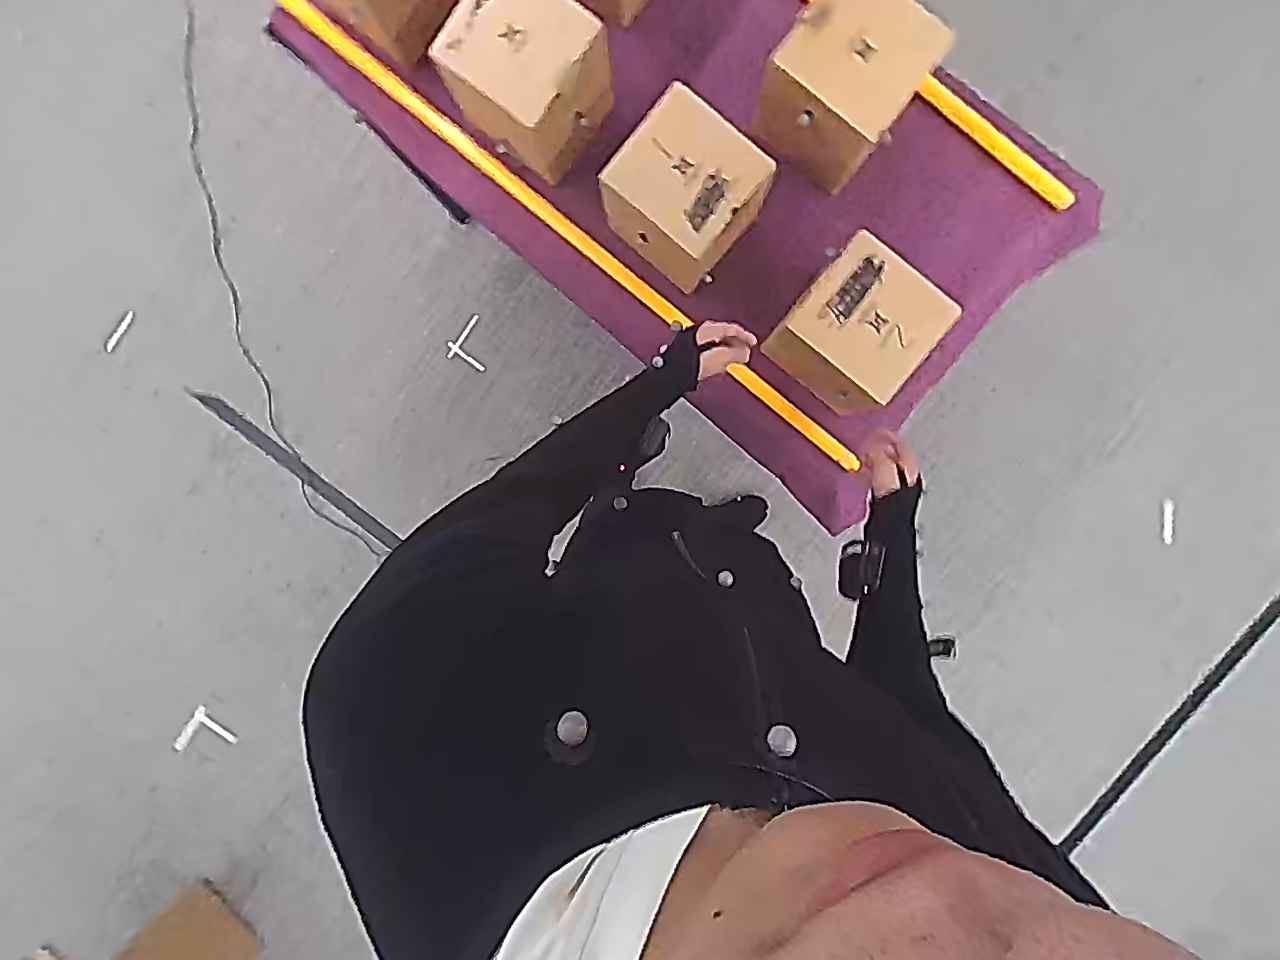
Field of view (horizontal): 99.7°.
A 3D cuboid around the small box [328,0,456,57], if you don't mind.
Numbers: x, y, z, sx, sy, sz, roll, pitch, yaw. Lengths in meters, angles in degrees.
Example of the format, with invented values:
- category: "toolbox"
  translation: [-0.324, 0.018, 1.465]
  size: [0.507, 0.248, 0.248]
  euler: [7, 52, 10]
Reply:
- category: "small box"
  translation: [-0.390, -0.777, 0.790]
  size: [0.179, 0.176, 0.168]
  euler: [38, 94, -3]

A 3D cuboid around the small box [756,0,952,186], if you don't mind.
- category: "small box"
  translation: [0.293, -0.565, 0.783]
  size: [0.179, 0.176, 0.168]
  euler: [39, 95, 0]

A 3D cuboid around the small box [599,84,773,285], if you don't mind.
- category: "small box"
  translation: [0.064, -0.415, 0.801]
  size: [0.179, 0.176, 0.168]
  euler: [41, 93, 0]

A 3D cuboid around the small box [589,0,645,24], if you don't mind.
- category: "small box"
  translation: [-0.037, -0.831, 0.775]
  size: [0.168, 0.176, 0.179]
  euler: [39, 96, -1]

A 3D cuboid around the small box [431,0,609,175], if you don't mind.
- category: "small box"
  translation: [-0.161, -0.590, 0.797]
  size: [0.179, 0.176, 0.168]
  euler: [38, 94, -1]
